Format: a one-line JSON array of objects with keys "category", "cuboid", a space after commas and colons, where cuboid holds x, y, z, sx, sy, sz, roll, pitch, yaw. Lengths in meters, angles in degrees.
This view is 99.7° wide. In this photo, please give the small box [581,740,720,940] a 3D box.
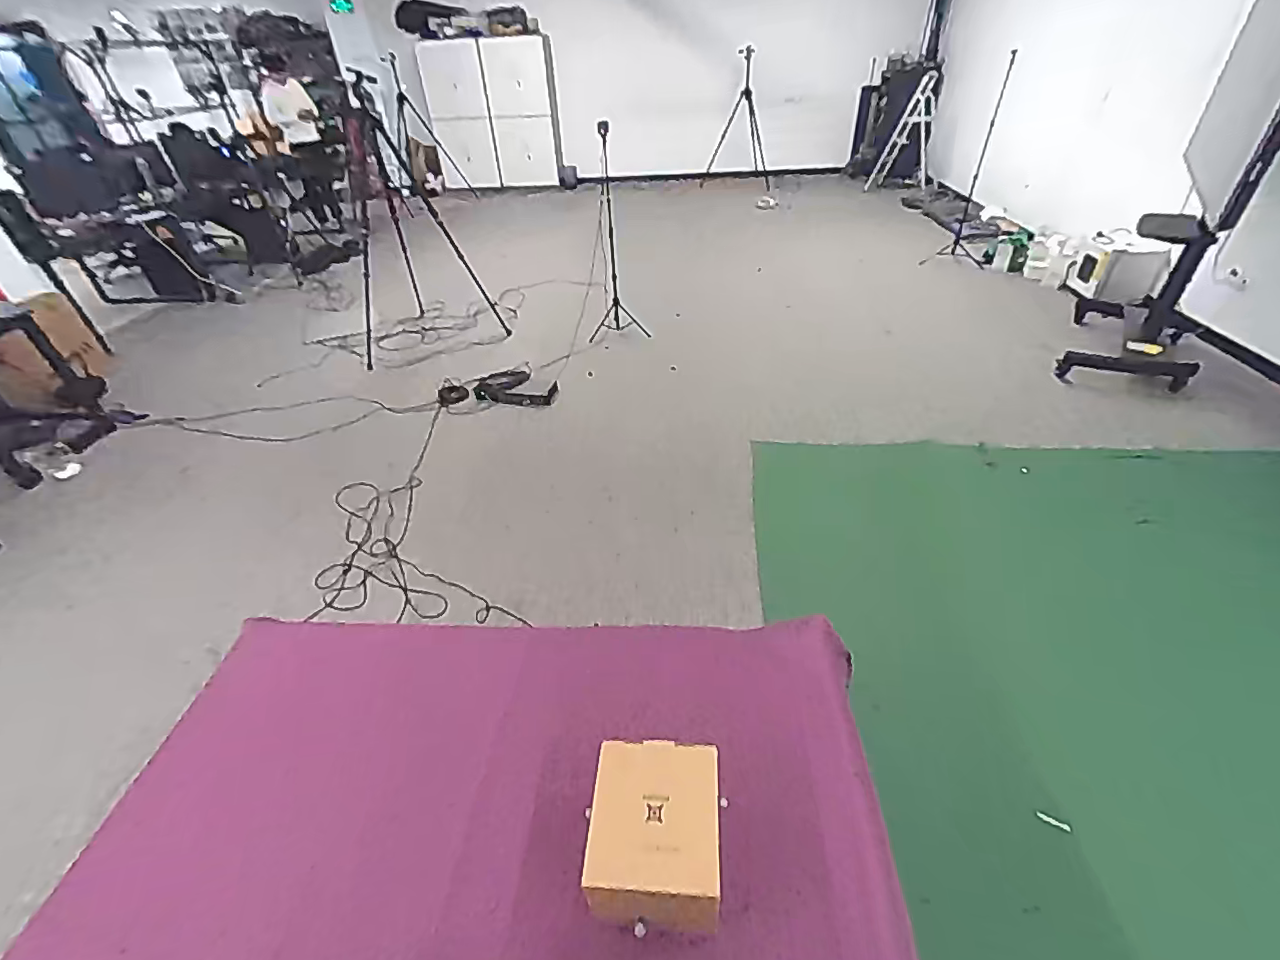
[{"category": "small box", "cuboid": [0.023, 0.487, 0.739, 0.168, 0.176, 0.179, 0, 37, 7]}]
